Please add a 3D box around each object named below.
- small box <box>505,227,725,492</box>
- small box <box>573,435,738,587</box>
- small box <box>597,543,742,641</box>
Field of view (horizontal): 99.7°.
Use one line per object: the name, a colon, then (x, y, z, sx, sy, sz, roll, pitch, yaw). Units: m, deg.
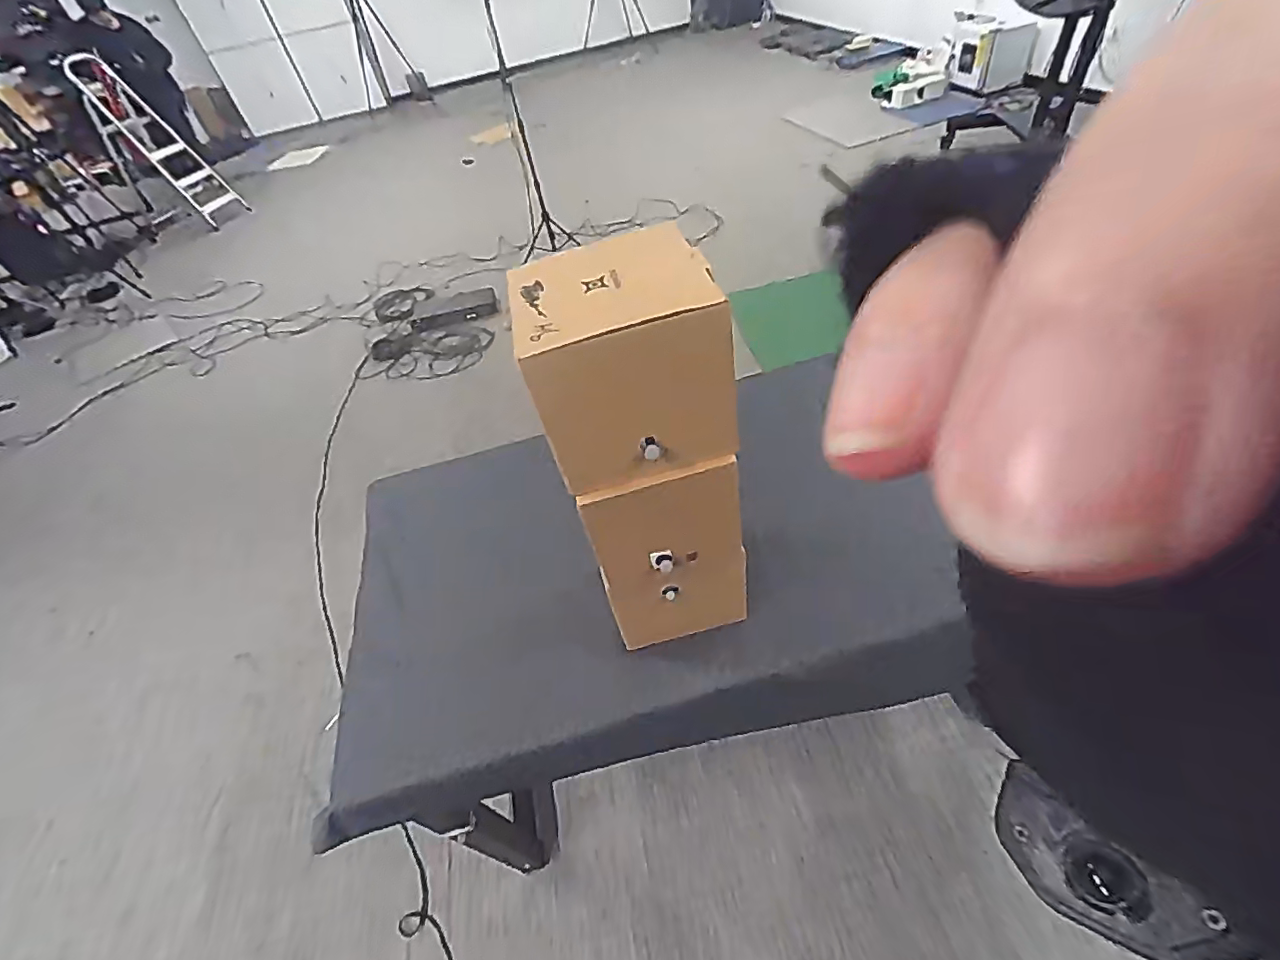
small box: (-0.020, -0.115, 0.533, 0.179, 0.176, 0.168, -15, 46, 0)
small box: (0.011, -0.003, 0.648, 0.168, 0.176, 0.179, -17, 47, 0)
small box: (0.038, 0.105, 0.765, 0.179, 0.176, 0.168, -14, 46, -1)
